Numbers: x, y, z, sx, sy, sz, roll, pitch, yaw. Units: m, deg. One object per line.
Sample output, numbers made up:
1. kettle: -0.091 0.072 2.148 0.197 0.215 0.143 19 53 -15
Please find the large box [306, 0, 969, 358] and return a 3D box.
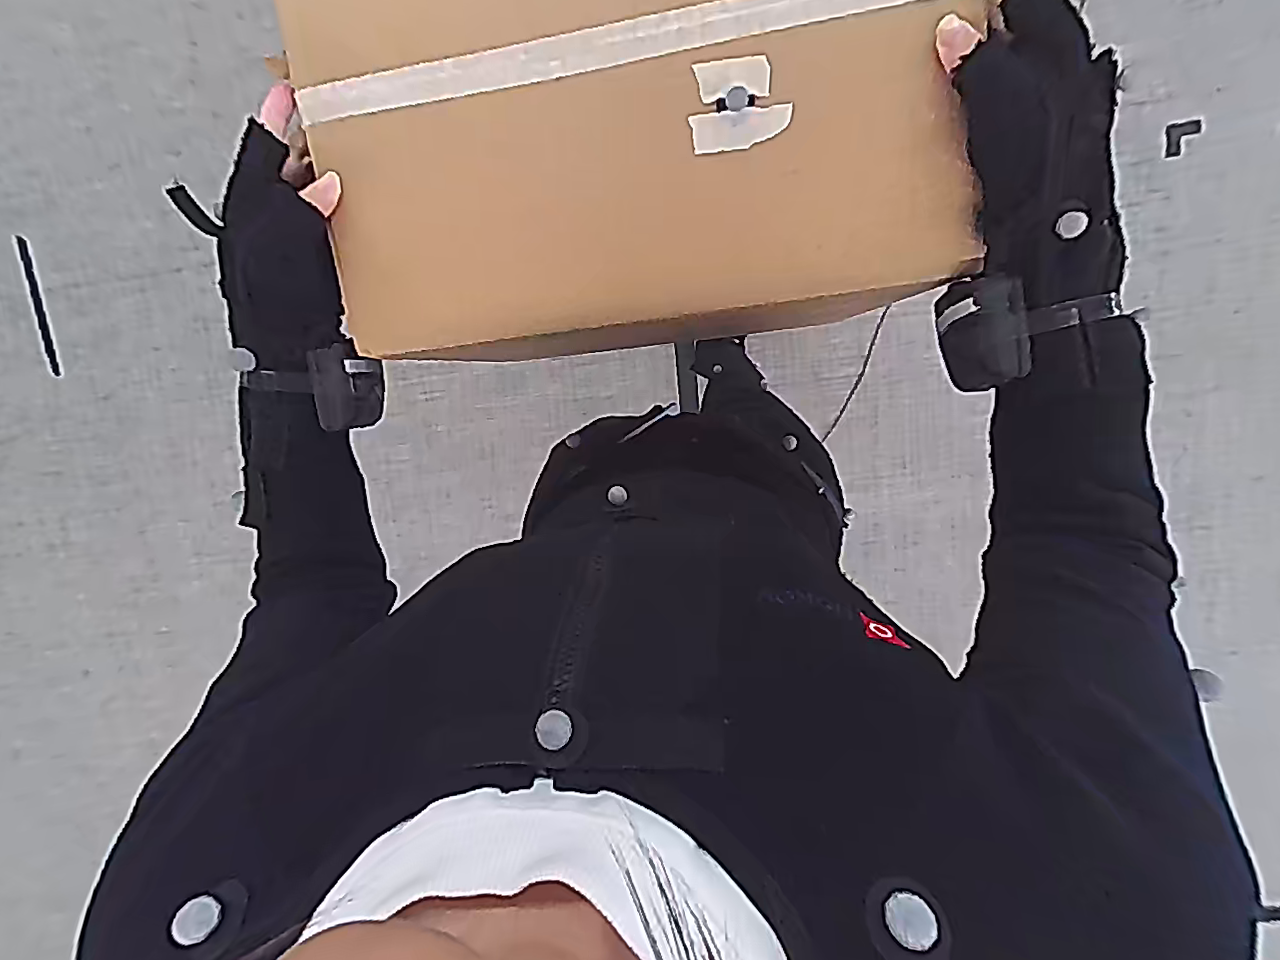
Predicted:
1. large box: 0.002 -0.294 0.479 0.408 0.320 0.320 -6 102 6
